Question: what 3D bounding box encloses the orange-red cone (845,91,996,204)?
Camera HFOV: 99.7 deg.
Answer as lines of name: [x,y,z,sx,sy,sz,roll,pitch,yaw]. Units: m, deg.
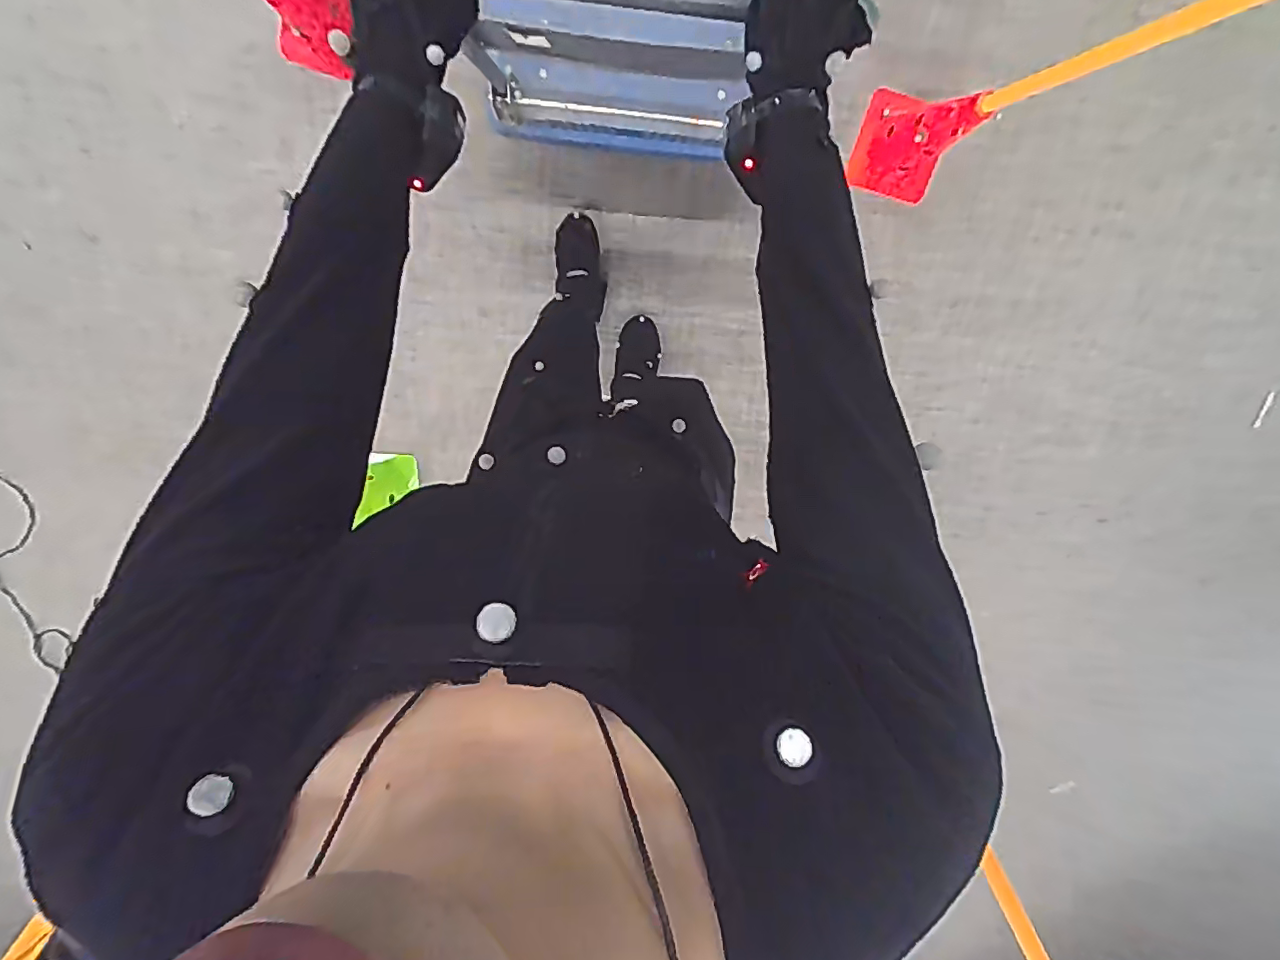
orange-red cone: [0.594,-0.703,1.087,0.198,0.360,0.199,15,111,-5]
